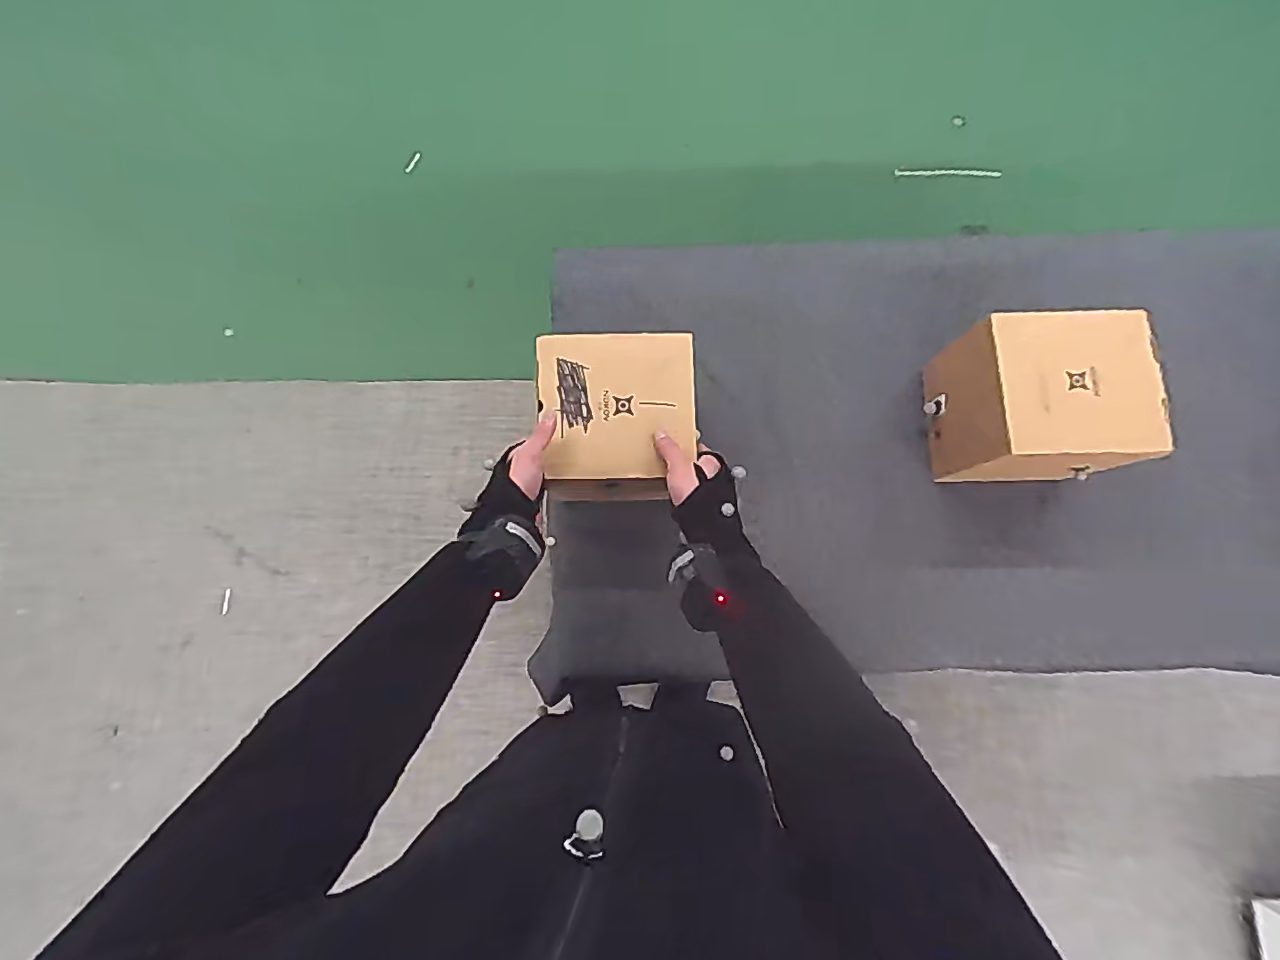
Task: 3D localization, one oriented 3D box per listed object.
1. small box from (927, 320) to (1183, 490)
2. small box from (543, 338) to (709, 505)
[{"bbox_3d":[0.489,-0.082,0.666,0.179,0.176,0.168,-2,79,1],"label":"small box"},{"bbox_3d":[-0.015,-0.060,0.657,0.179,0.176,0.168,0,80,-2],"label":"small box"}]
